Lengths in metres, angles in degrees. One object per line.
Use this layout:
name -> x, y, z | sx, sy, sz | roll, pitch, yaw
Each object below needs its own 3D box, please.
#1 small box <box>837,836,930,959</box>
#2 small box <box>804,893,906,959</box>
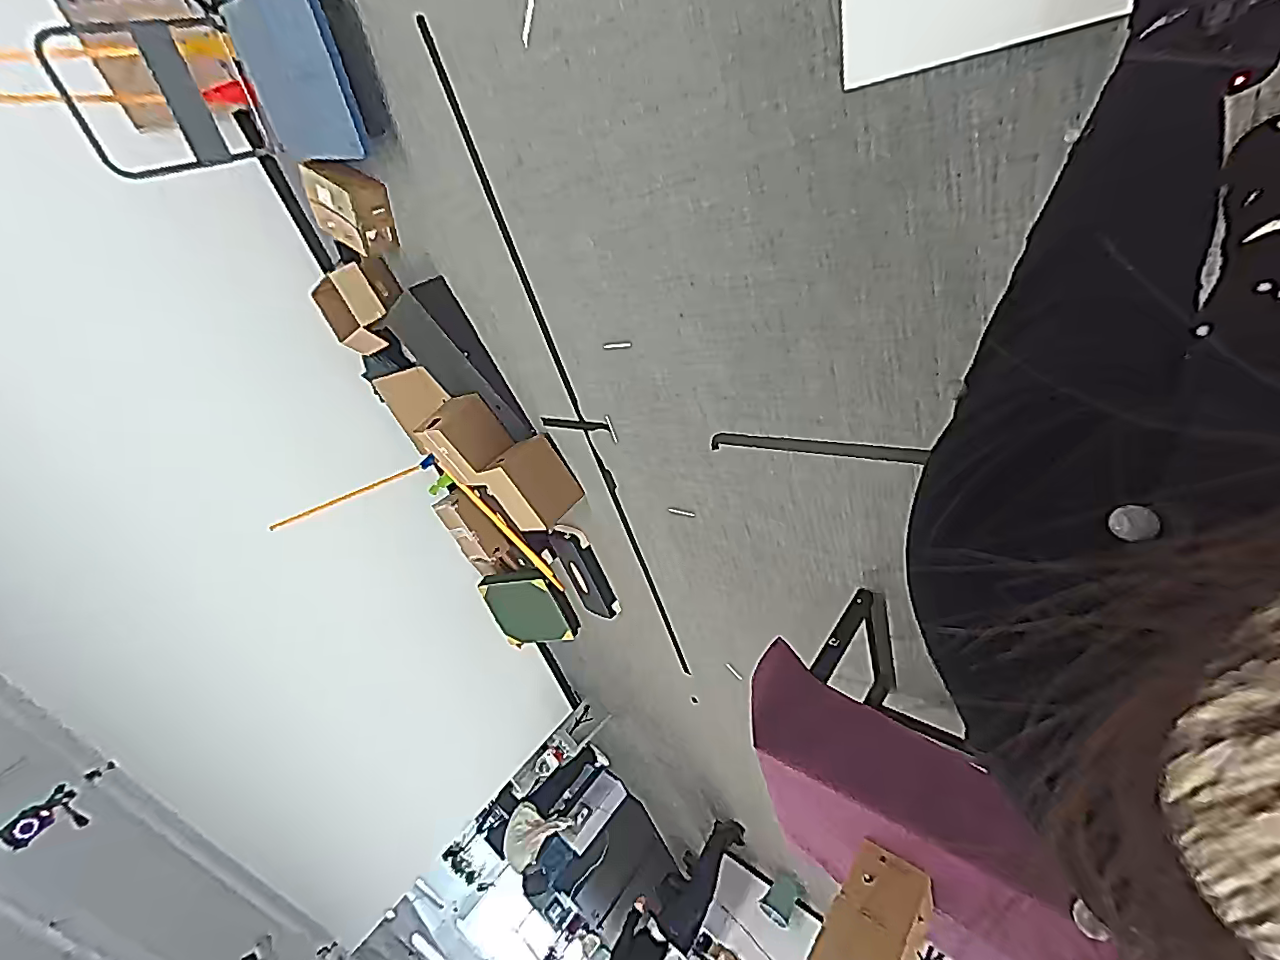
small box -> 0.630, 1.071, 1.393 | 0.168, 0.176, 0.179 | 11, 131, 44
small box -> 0.526, 1.158, 1.301 | 0.179, 0.176, 0.168 | 10, 129, 45
